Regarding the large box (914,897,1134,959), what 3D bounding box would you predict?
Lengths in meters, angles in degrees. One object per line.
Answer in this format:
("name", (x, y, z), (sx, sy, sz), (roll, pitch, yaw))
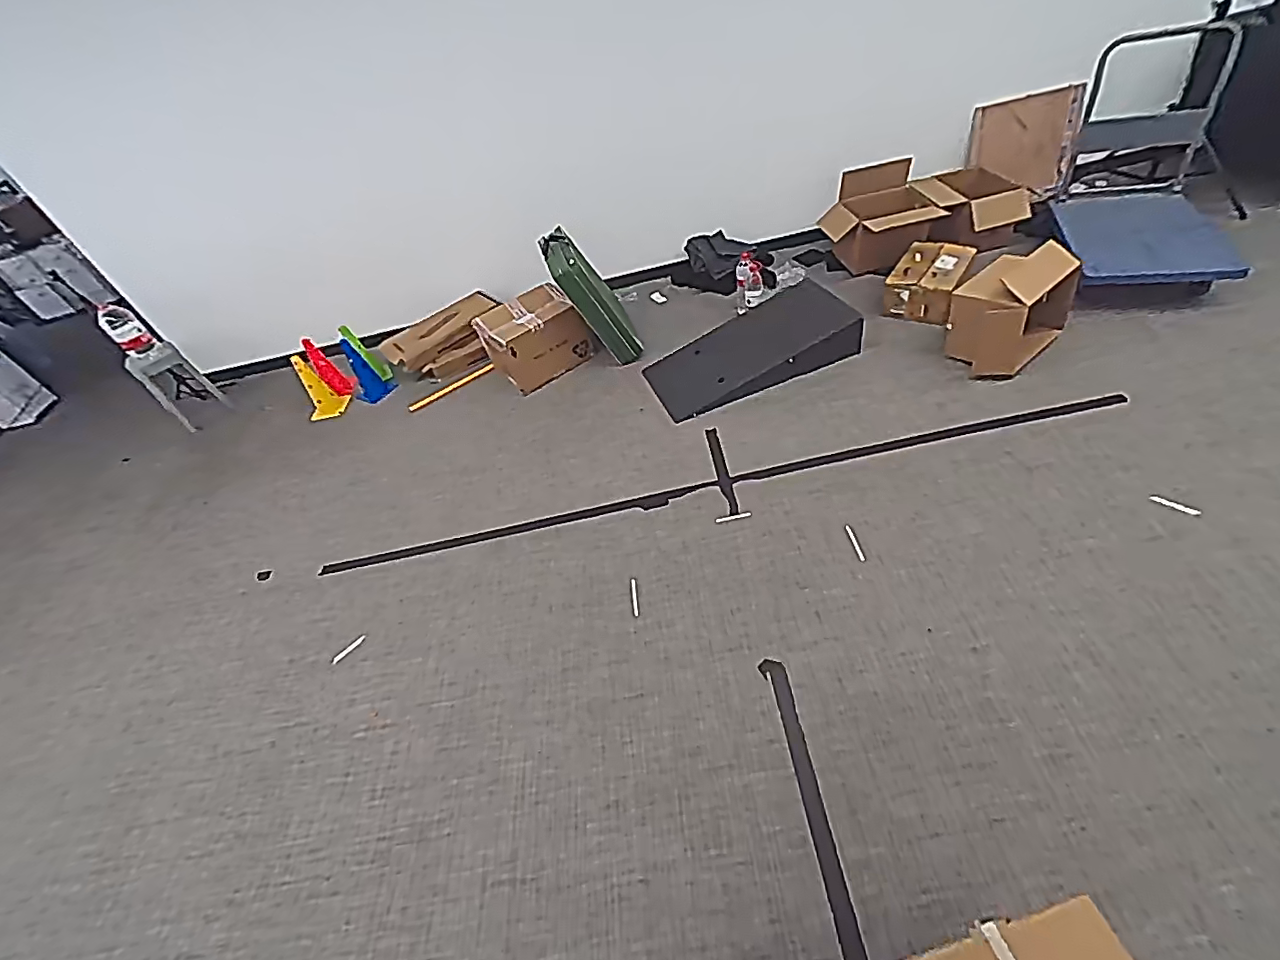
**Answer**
("large box", (0.633, 0.914, 0.790), (0.320, 0.320, 0.408), (-23, 45, 3))
